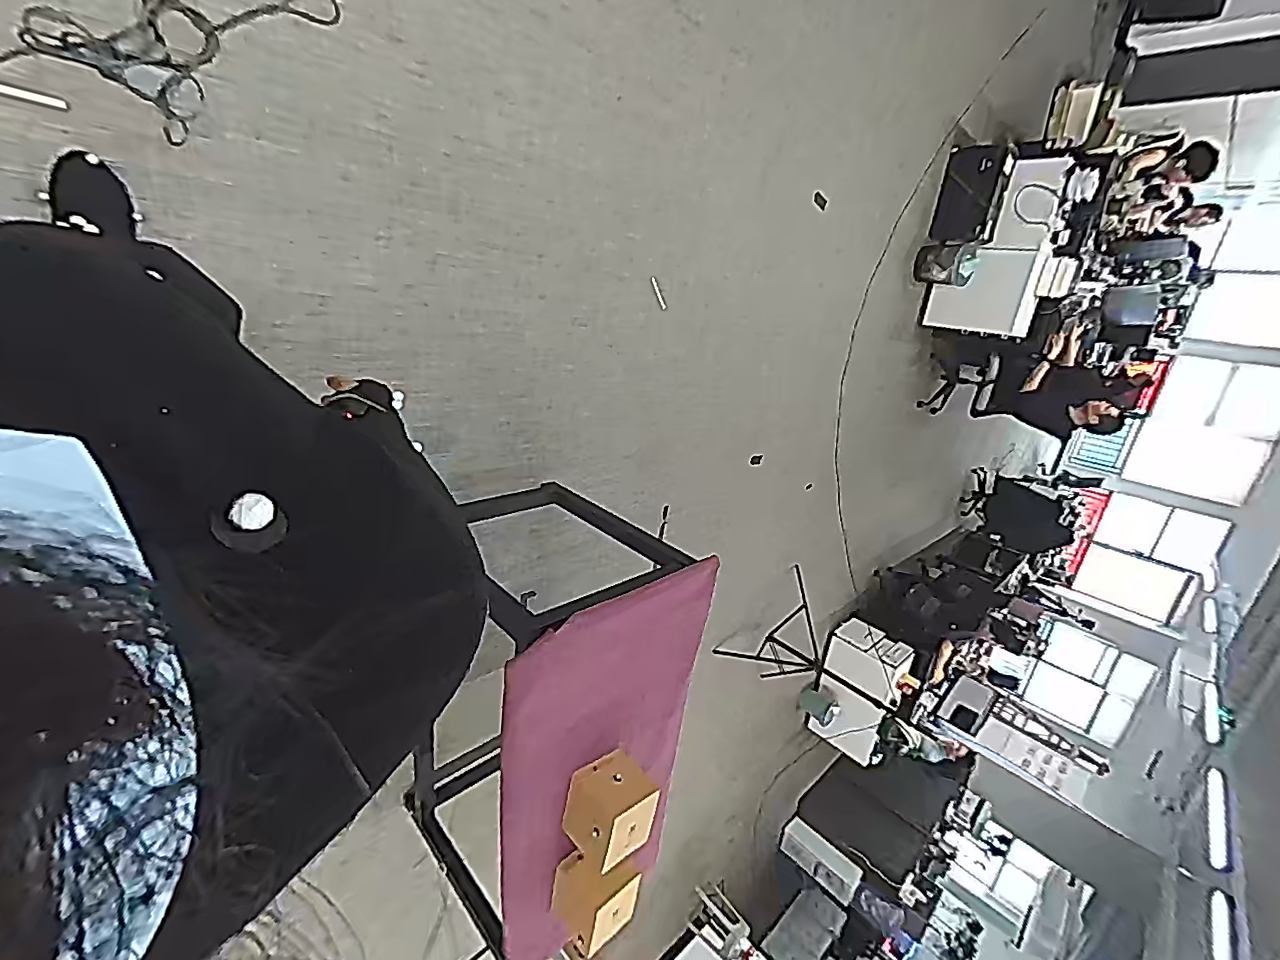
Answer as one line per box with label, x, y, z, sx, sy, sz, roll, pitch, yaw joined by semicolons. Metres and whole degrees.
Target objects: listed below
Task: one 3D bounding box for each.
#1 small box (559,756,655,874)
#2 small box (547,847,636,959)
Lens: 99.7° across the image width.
small box;-0.089;0.850;1.400;0.168;0.176;0.179;-1;110;-47
small box;-0.138;1.133;1.488;0.168;0.176;0.179;-8;114;-47
